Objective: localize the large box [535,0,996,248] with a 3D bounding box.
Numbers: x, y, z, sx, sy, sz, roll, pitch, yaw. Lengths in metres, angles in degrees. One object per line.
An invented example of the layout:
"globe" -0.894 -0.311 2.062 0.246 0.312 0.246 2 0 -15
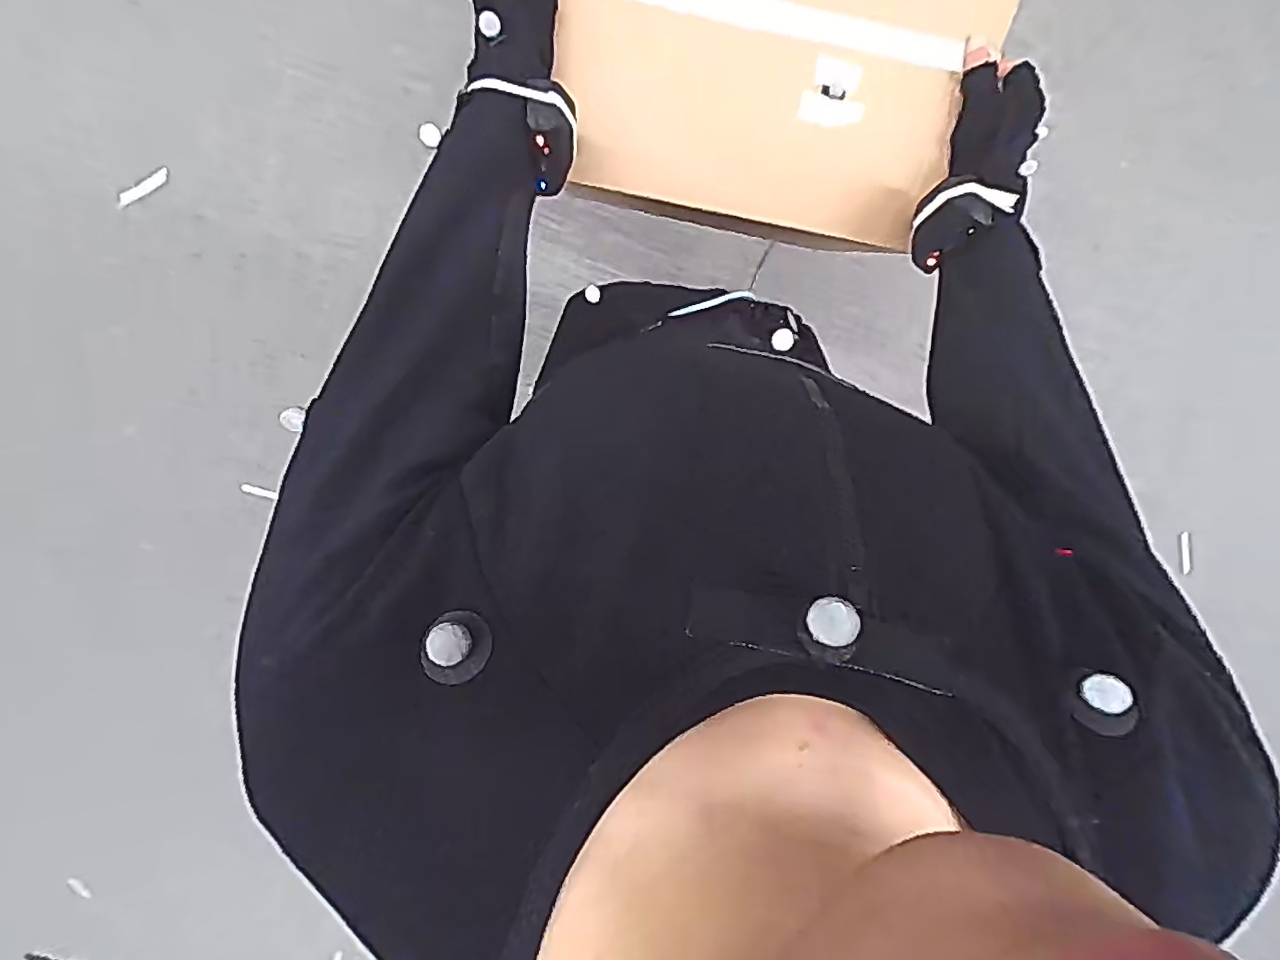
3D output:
"large box" 0.109 -0.466 0.627 0.408 0.320 0.320 8 114 -4
